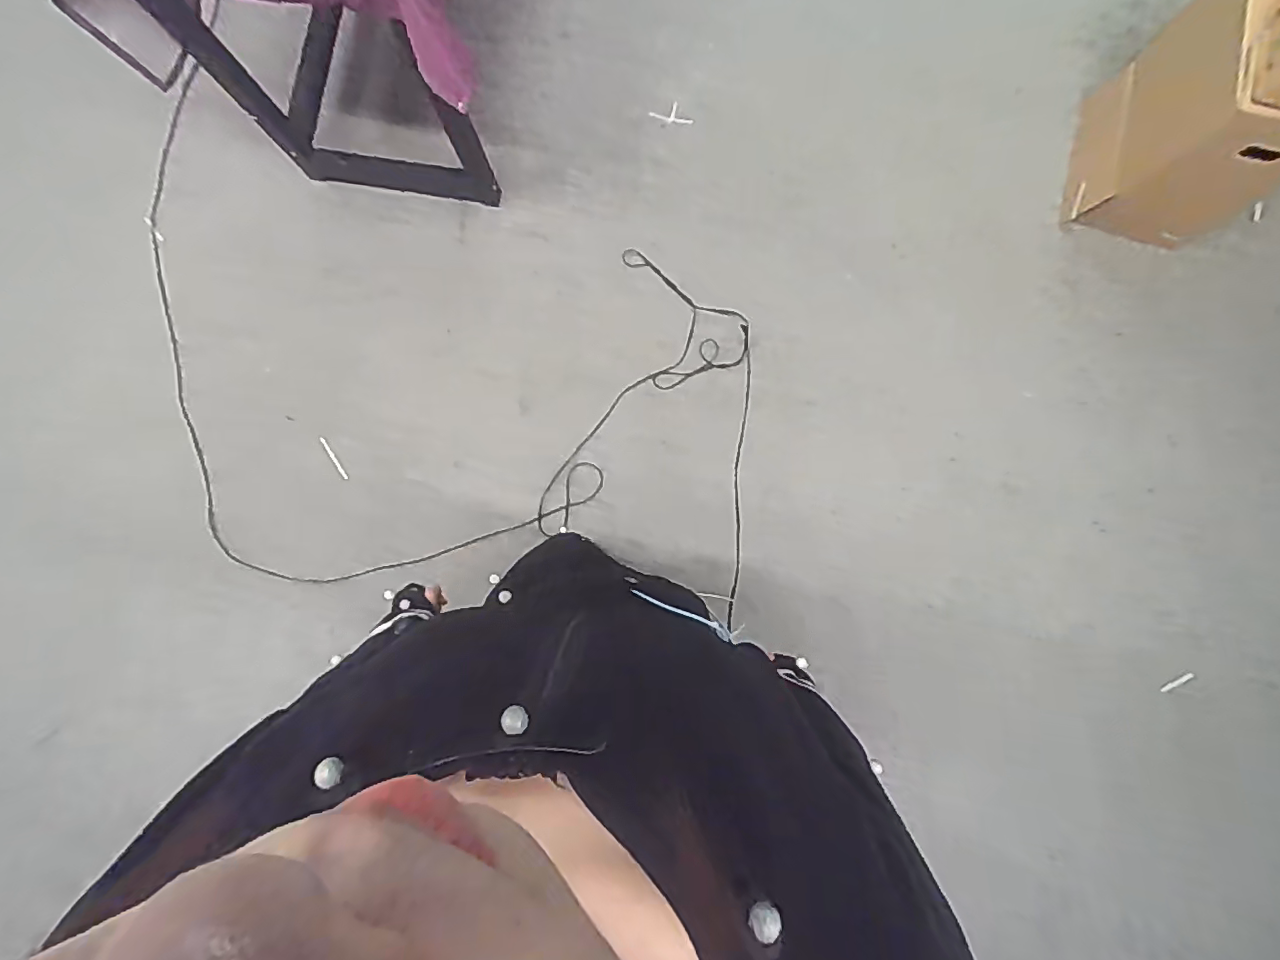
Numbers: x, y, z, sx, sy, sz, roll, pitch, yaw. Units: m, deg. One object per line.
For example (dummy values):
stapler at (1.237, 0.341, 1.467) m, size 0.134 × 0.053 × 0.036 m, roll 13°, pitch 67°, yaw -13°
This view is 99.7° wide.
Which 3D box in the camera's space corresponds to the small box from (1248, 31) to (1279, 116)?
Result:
small box at (1.378, -0.839, 1.057) m, size 0.179 × 0.176 × 0.168 m, roll 15°, pitch 85°, yaw 1°
